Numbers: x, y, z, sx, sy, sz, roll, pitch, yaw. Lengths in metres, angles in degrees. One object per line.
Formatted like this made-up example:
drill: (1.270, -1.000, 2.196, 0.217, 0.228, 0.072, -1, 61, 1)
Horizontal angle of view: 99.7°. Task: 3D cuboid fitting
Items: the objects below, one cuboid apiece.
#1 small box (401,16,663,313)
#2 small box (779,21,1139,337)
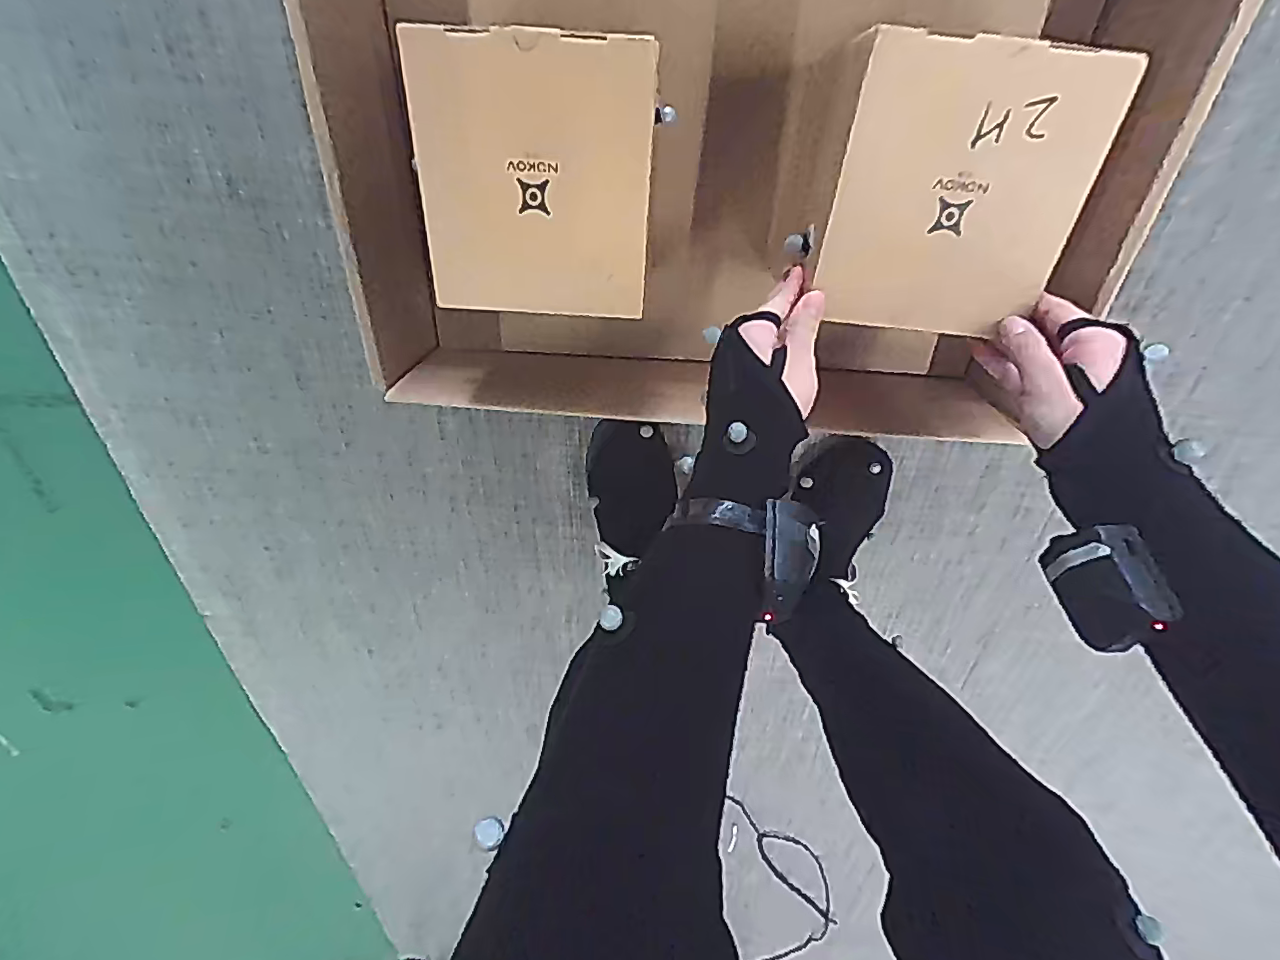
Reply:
small box: (-0.070, -0.253, 0.450, 0.168, 0.176, 0.179, 4, 121, 1)
small box: (0.218, -0.232, 0.436, 0.168, 0.176, 0.179, 6, 120, 0)
